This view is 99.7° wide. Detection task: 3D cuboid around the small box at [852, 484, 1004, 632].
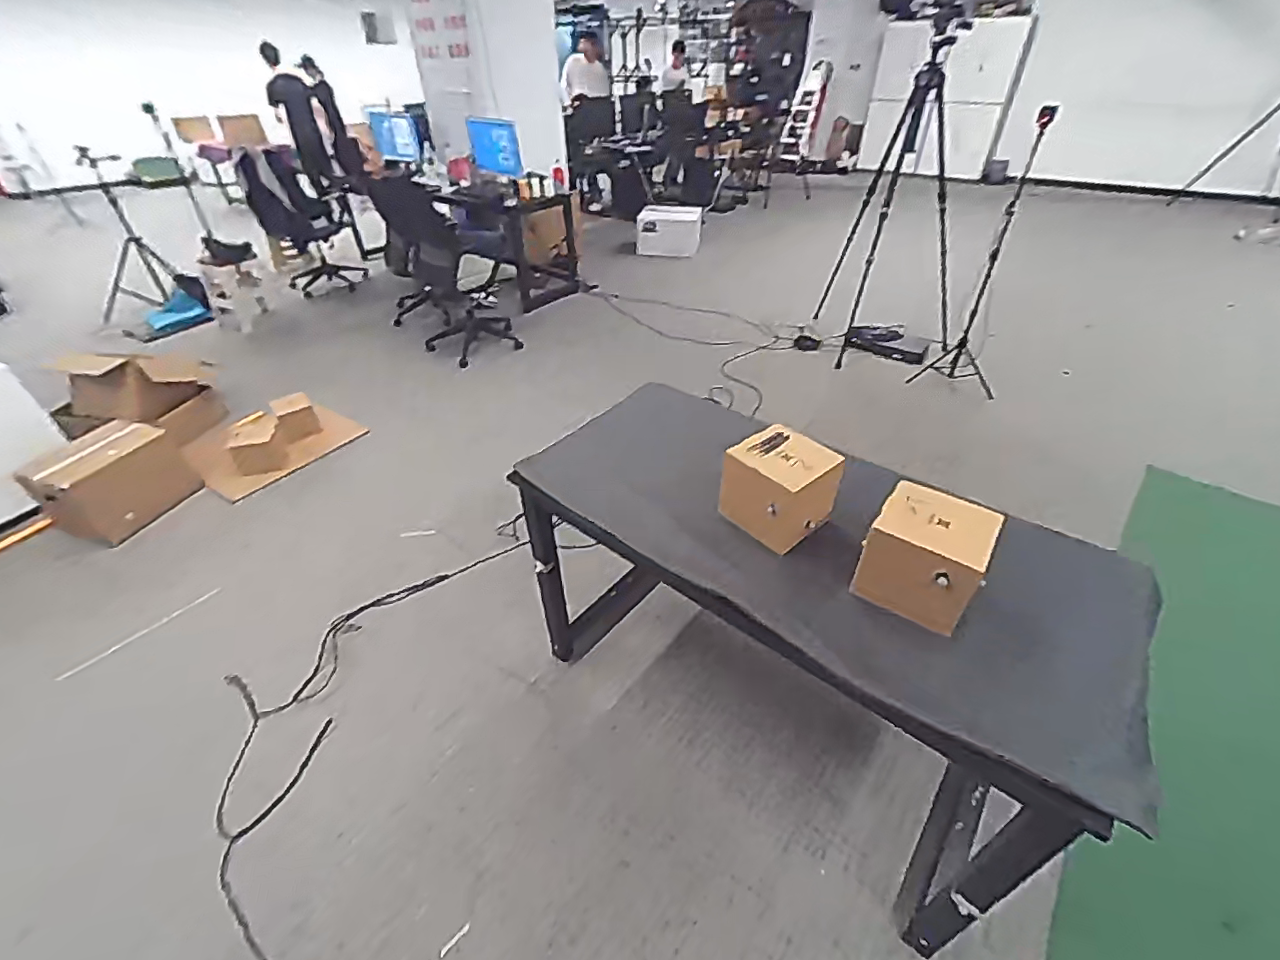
[{"bbox_3d":[0.504,0.141,0.961,0.179,0.176,0.168,25,44,30],"label":"small box"}]
